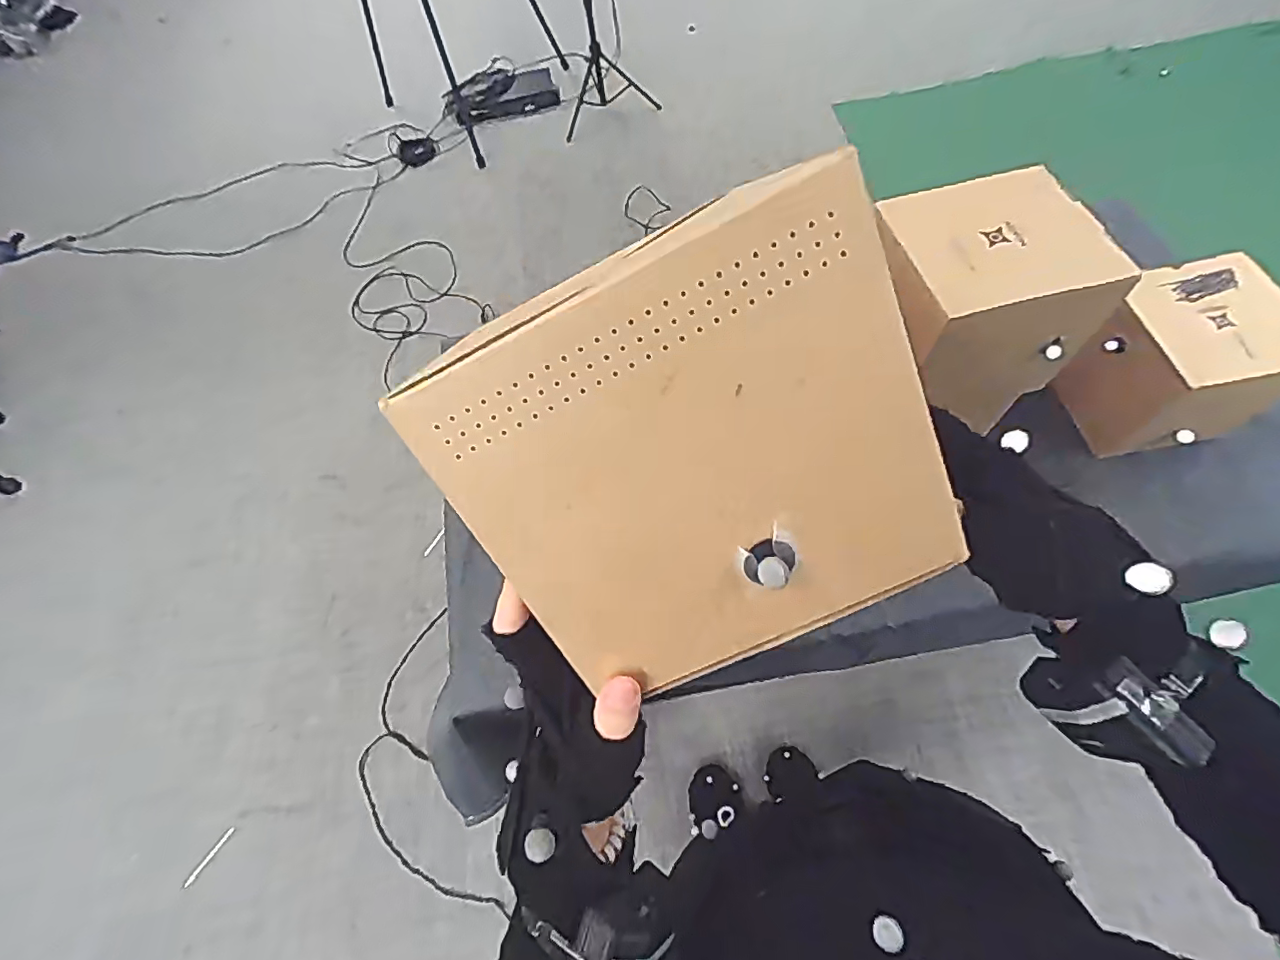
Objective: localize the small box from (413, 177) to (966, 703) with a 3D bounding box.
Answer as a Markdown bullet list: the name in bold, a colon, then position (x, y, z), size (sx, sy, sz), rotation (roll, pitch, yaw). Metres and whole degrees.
- **small box**: position (0.022, -0.030, 0.281), size (0.179, 0.176, 0.168), rotation (-26, 23, 7)
